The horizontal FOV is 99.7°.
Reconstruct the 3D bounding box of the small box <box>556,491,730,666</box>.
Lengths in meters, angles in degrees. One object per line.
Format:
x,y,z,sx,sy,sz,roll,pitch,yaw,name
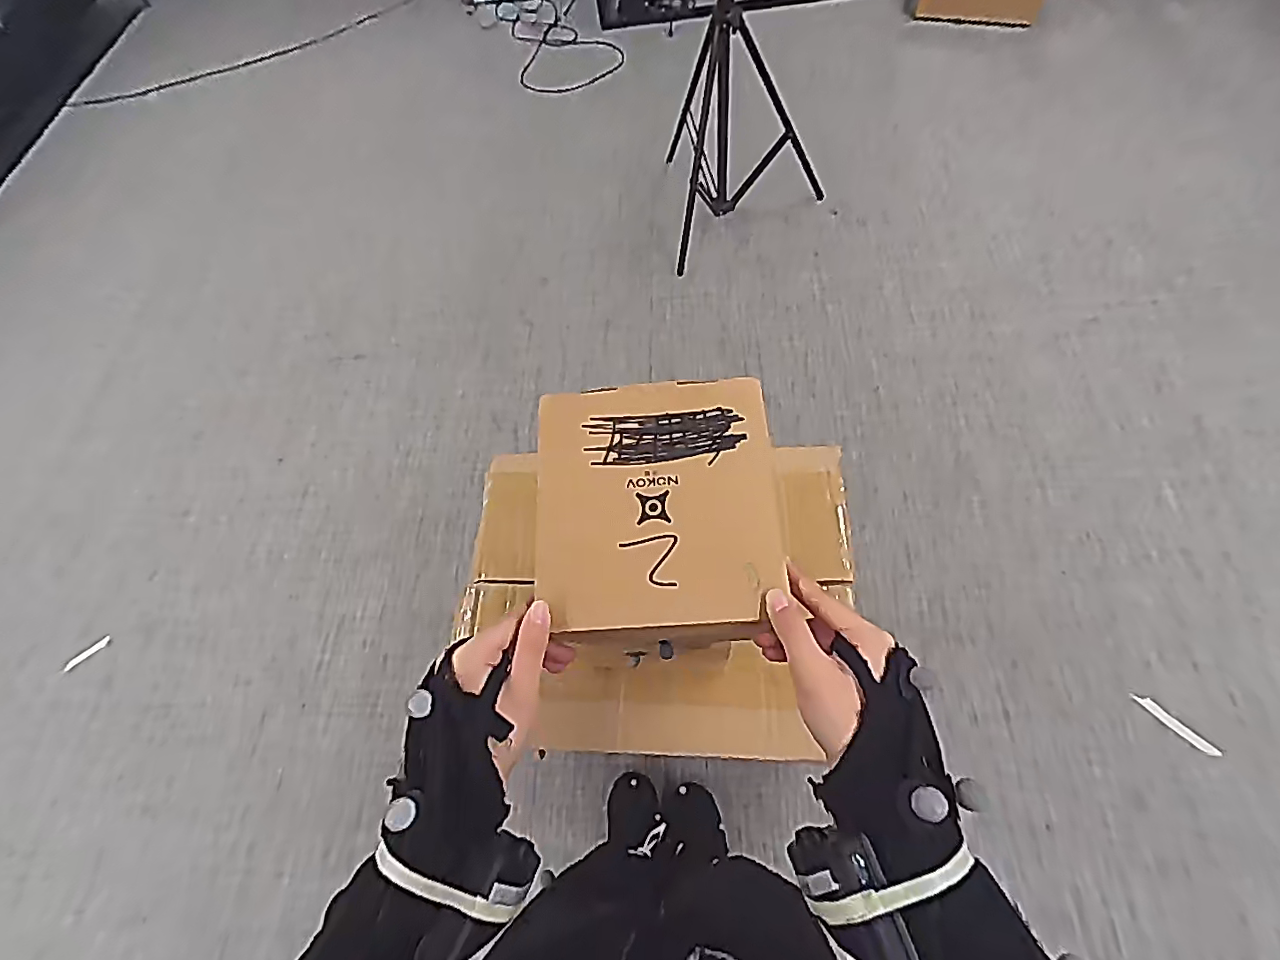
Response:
0.015,0.122,0.634,0.179,0.176,0.168,-1,64,7,small box
